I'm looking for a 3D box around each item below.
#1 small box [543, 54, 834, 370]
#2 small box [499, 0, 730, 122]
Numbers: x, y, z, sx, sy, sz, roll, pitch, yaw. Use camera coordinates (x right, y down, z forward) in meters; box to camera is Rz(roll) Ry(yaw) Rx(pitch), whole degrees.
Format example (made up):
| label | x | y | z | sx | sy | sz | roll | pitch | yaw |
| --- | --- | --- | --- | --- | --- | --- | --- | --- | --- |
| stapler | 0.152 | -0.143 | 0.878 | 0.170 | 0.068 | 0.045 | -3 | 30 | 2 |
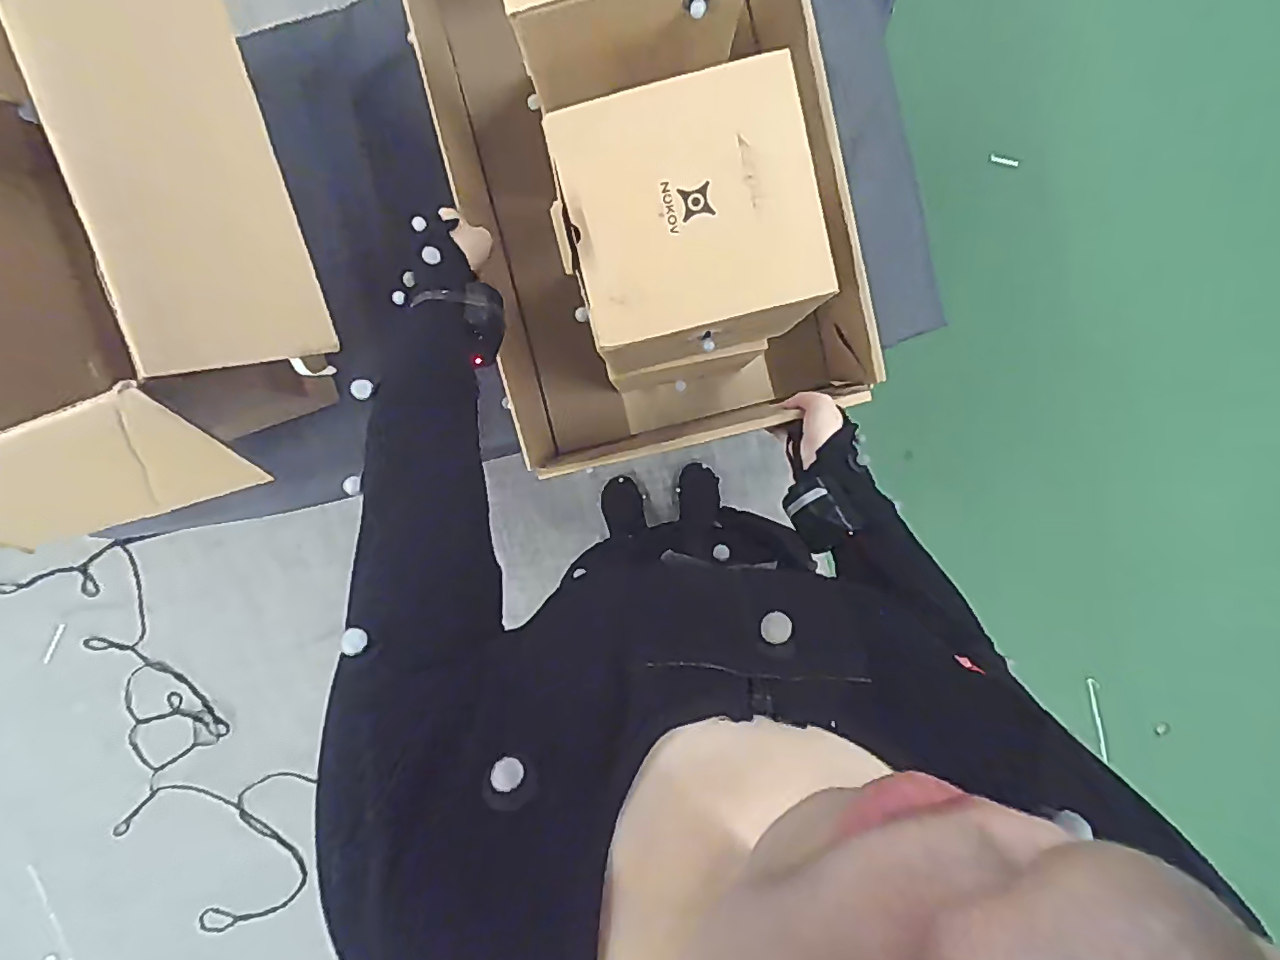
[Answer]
| label | x | y | z | sx | sy | sz | roll | pitch | yaw |
| --- | --- | --- | --- | --- | --- | --- | --- | --- | --- |
| small box | 0.037 | -0.198 | 0.455 | 0.179 | 0.176 | 0.168 | -14 | 95 | 2 |
| small box | -0.027 | -0.421 | 0.436 | 0.179 | 0.176 | 0.168 | -15 | 97 | 1 |
